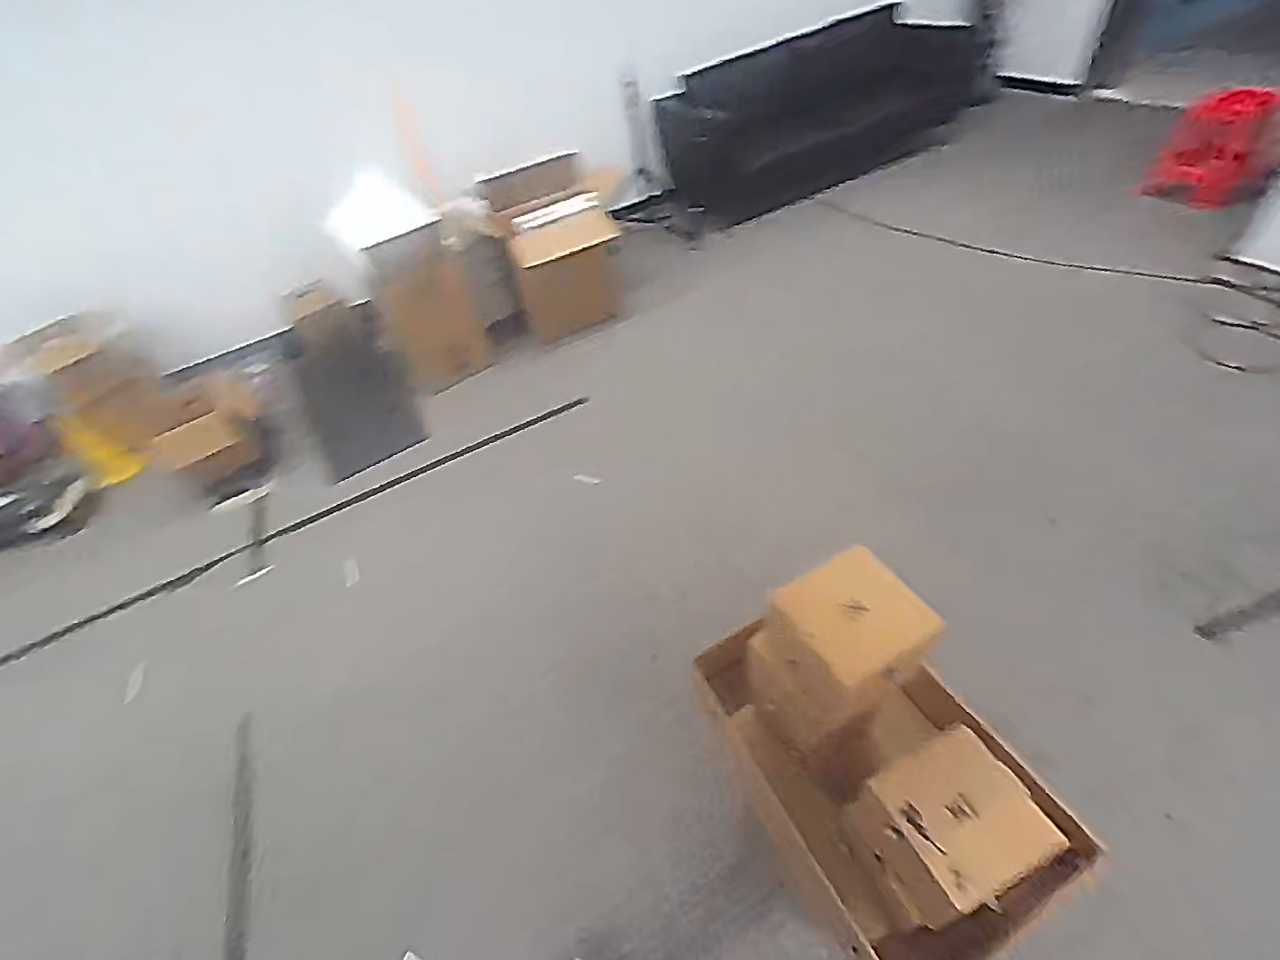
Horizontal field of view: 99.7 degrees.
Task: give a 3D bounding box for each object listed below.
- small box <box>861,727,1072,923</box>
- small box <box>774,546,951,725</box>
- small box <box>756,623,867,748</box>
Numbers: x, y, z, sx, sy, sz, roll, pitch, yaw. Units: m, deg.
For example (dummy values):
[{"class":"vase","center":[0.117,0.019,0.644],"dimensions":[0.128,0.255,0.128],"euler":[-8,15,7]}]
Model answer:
[{"class":"small box","center":[0.448,0.495,0.777],"dimensions":[0.179,0.176,0.168],"euler":[-22,46,-11]},{"class":"small box","center":[0.324,0.239,0.828],"dimensions":[0.179,0.176,0.168],"euler":[-26,49,-13]},{"class":"small box","center":[0.320,0.337,0.960],"dimensions":[0.179,0.176,0.168],"euler":[-29,49,-15]}]
